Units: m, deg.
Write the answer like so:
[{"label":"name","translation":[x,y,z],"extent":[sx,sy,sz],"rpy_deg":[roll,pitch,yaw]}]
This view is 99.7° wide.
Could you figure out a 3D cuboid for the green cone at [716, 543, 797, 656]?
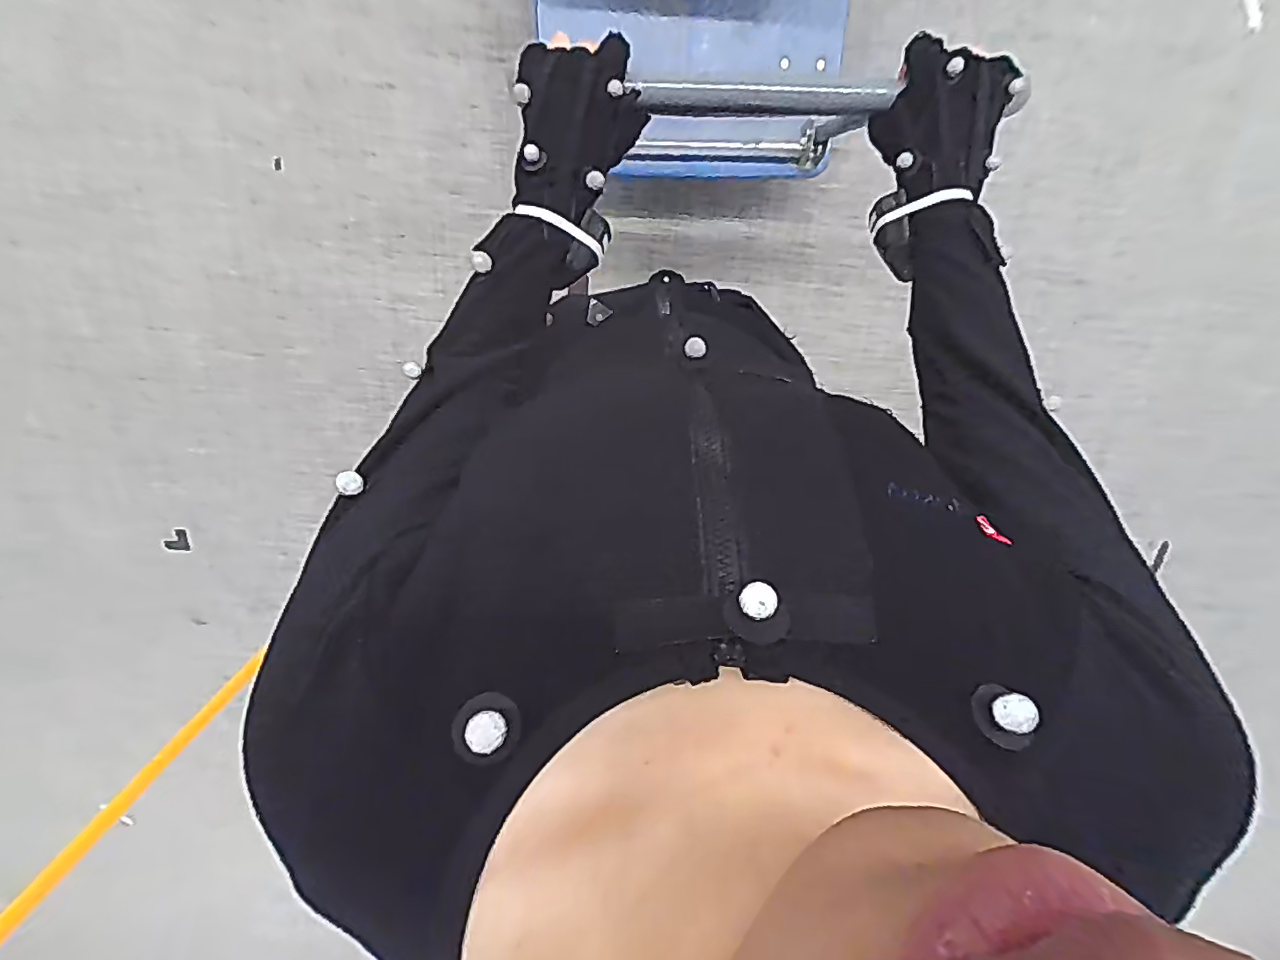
[{"label":"green cone","translation":[0.354,0.355,1.498],"extent":[0.202,0.368,0.200],"rpy_deg":[7,112,-6]}]
